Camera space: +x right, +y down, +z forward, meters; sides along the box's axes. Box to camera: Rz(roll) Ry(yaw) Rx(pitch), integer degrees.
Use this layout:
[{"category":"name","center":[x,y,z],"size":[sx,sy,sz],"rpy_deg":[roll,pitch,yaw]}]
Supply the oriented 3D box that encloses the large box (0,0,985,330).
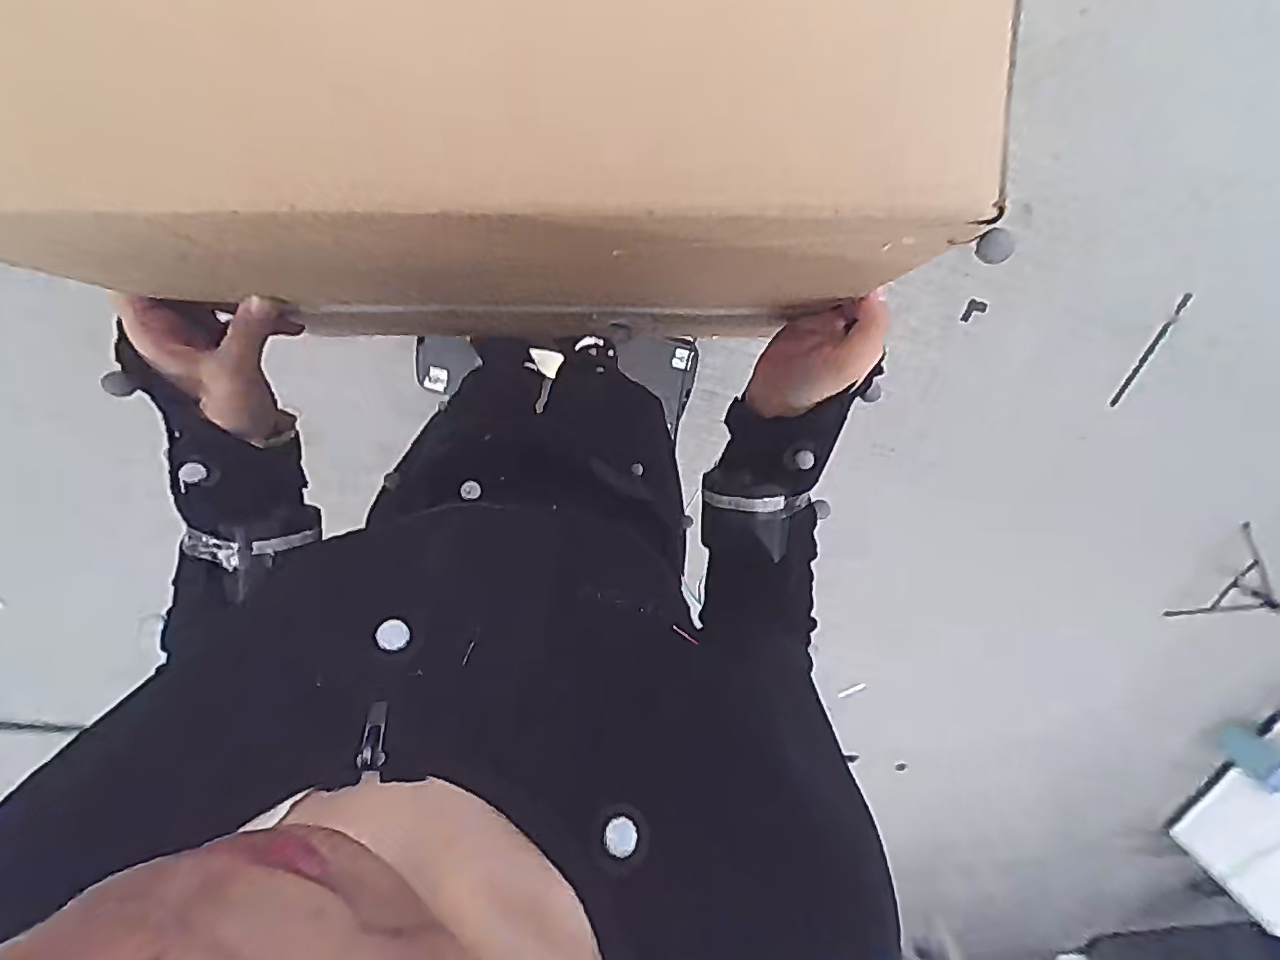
[{"category":"large box","center":[-0.086,-0.267,0.314],"size":[0.408,0.320,0.320],"rpy_deg":[-1,99,-1]}]

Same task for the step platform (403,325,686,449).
[{"category":"step platform","center":[-0.229,-0.310,1.379],"size":[0.684,0.204,0.286],"rpy_deg":[16,112,-17]}]
